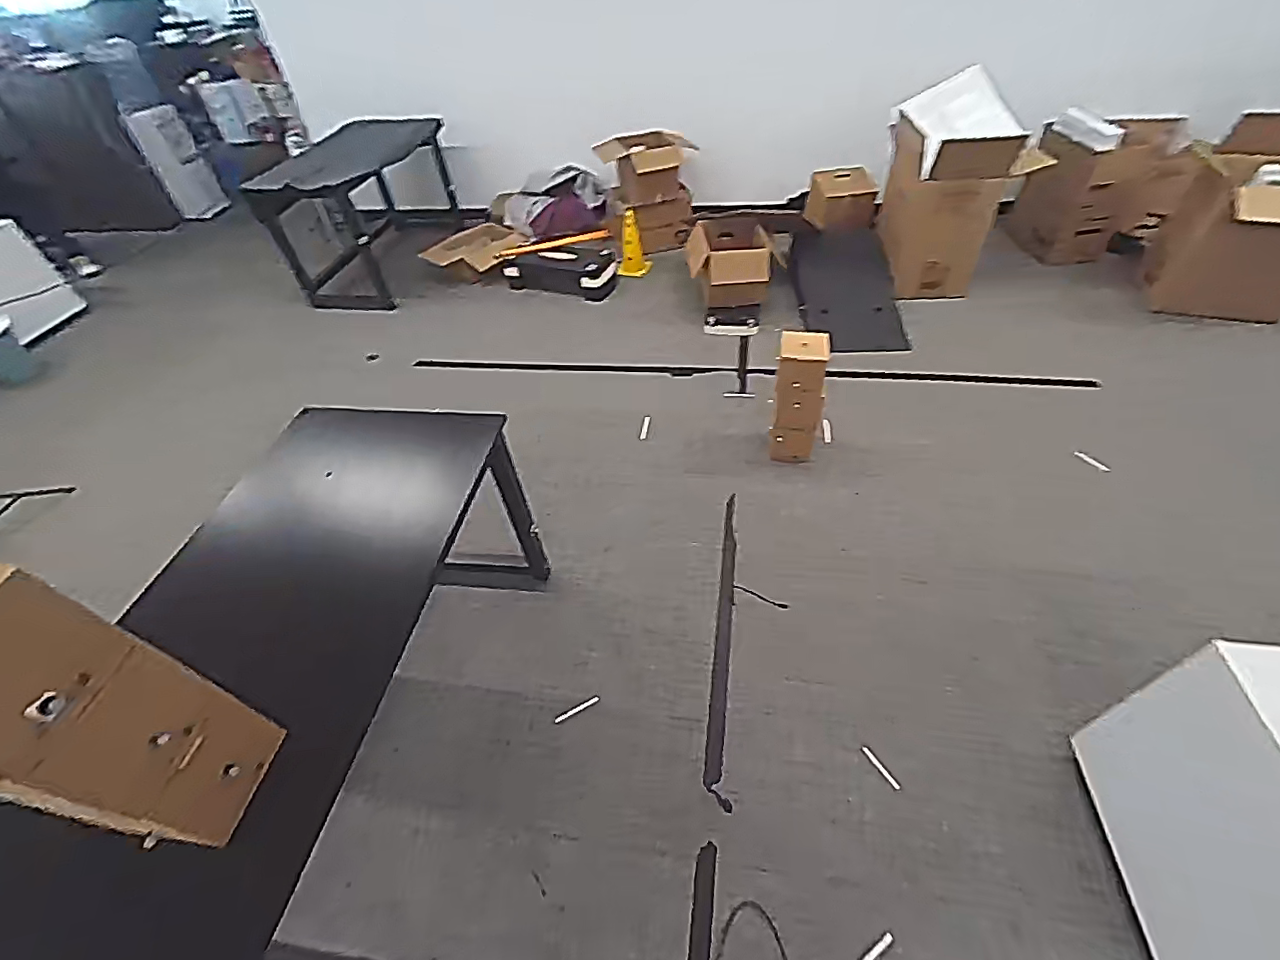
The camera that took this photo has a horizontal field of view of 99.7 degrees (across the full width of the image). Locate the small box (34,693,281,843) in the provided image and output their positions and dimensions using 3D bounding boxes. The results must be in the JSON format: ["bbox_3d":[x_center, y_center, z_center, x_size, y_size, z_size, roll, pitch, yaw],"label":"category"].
[{"bbox_3d":[-0.686,0.419,0.800,0.179,0.176,0.168,3,47,7],"label":"small box"}]

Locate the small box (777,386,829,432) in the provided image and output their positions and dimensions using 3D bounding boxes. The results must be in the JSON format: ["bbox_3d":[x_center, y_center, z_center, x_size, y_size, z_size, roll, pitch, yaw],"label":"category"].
[{"bbox_3d":[0.638,-0.305,2.133,0.179,0.176,0.168,5,47,8],"label":"small box"}]

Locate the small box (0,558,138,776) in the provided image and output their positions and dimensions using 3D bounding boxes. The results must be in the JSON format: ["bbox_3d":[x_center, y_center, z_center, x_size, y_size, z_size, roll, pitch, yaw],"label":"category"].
[{"bbox_3d":[-0.710,0.192,0.564,0.179,0.176,0.168,3,48,8],"label":"small box"}]

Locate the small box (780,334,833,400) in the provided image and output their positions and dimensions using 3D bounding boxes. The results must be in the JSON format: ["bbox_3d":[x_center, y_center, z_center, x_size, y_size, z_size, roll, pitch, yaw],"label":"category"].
[{"bbox_3d":[0.619,-0.422,2.021,0.168,0.176,0.179,6,48,10],"label":"small box"}]

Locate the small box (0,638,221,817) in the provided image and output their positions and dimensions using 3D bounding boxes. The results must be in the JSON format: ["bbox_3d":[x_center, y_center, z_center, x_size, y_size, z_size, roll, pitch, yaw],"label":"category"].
[{"bbox_3d":[-0.699,0.305,0.681,0.179,0.176,0.168,3,48,8],"label":"small box"}]
